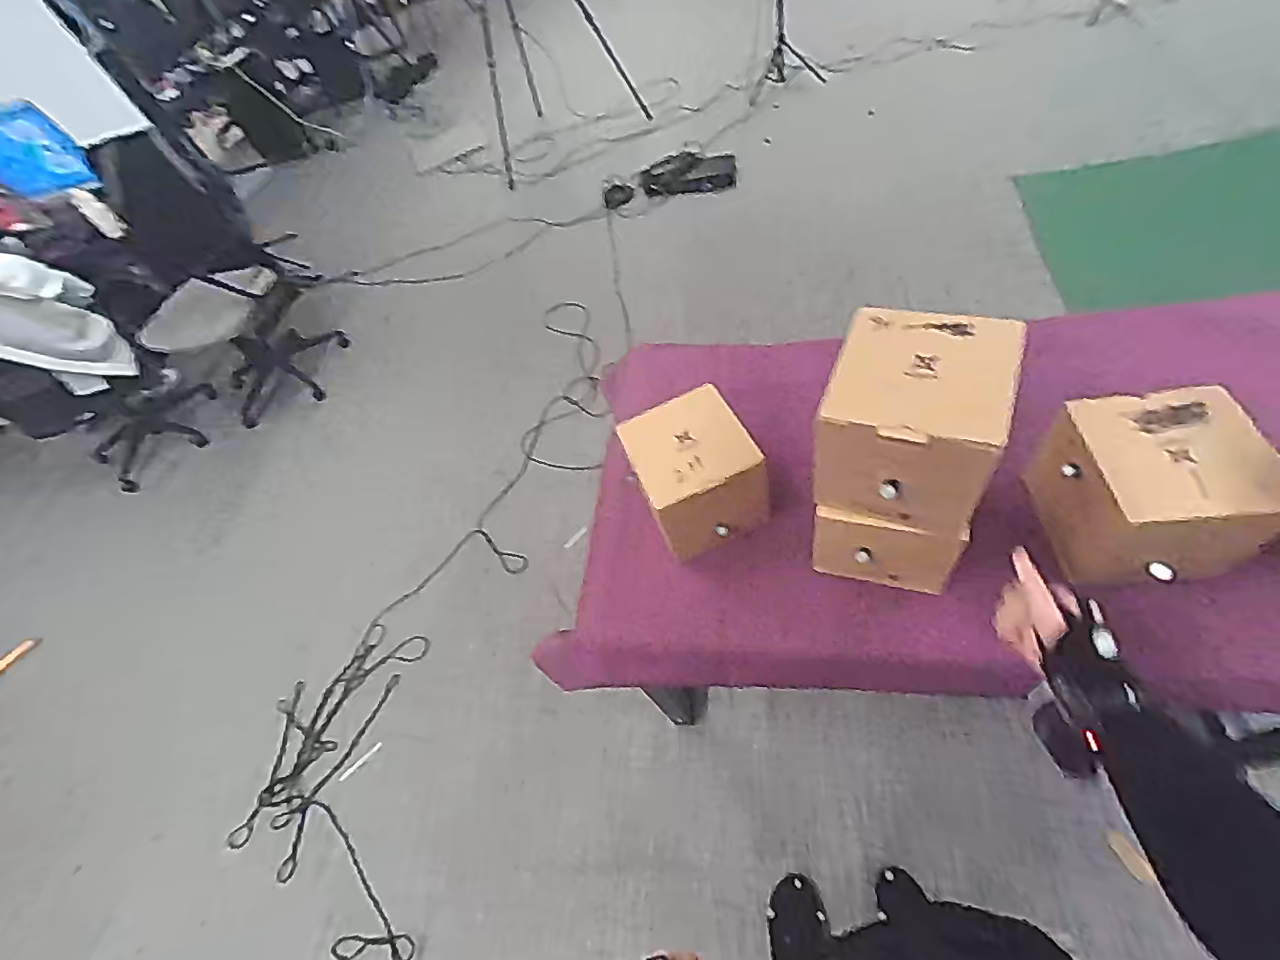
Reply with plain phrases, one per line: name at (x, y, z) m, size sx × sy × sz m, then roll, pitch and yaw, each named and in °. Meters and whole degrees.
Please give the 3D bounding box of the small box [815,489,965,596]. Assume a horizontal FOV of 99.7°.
small box at (0.339, 0.038, 0.740) m, size 0.168 × 0.176 × 0.179 m, roll 9°, pitch 58°, yaw 22°

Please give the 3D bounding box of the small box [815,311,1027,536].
small box at (0.307, -0.062, 0.614) m, size 0.168 × 0.176 × 0.179 m, roll 16°, pitch 61°, yaw 26°

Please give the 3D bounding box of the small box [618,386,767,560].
small box at (0.084, -0.007, 0.841) m, size 0.168 × 0.176 × 0.179 m, roll -24°, pitch 53°, yaw -1°

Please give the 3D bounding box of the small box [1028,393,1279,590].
small box at (0.621, 0.020, 0.669) m, size 0.168 × 0.176 × 0.179 m, roll -6°, pitch 54°, yaw 13°
